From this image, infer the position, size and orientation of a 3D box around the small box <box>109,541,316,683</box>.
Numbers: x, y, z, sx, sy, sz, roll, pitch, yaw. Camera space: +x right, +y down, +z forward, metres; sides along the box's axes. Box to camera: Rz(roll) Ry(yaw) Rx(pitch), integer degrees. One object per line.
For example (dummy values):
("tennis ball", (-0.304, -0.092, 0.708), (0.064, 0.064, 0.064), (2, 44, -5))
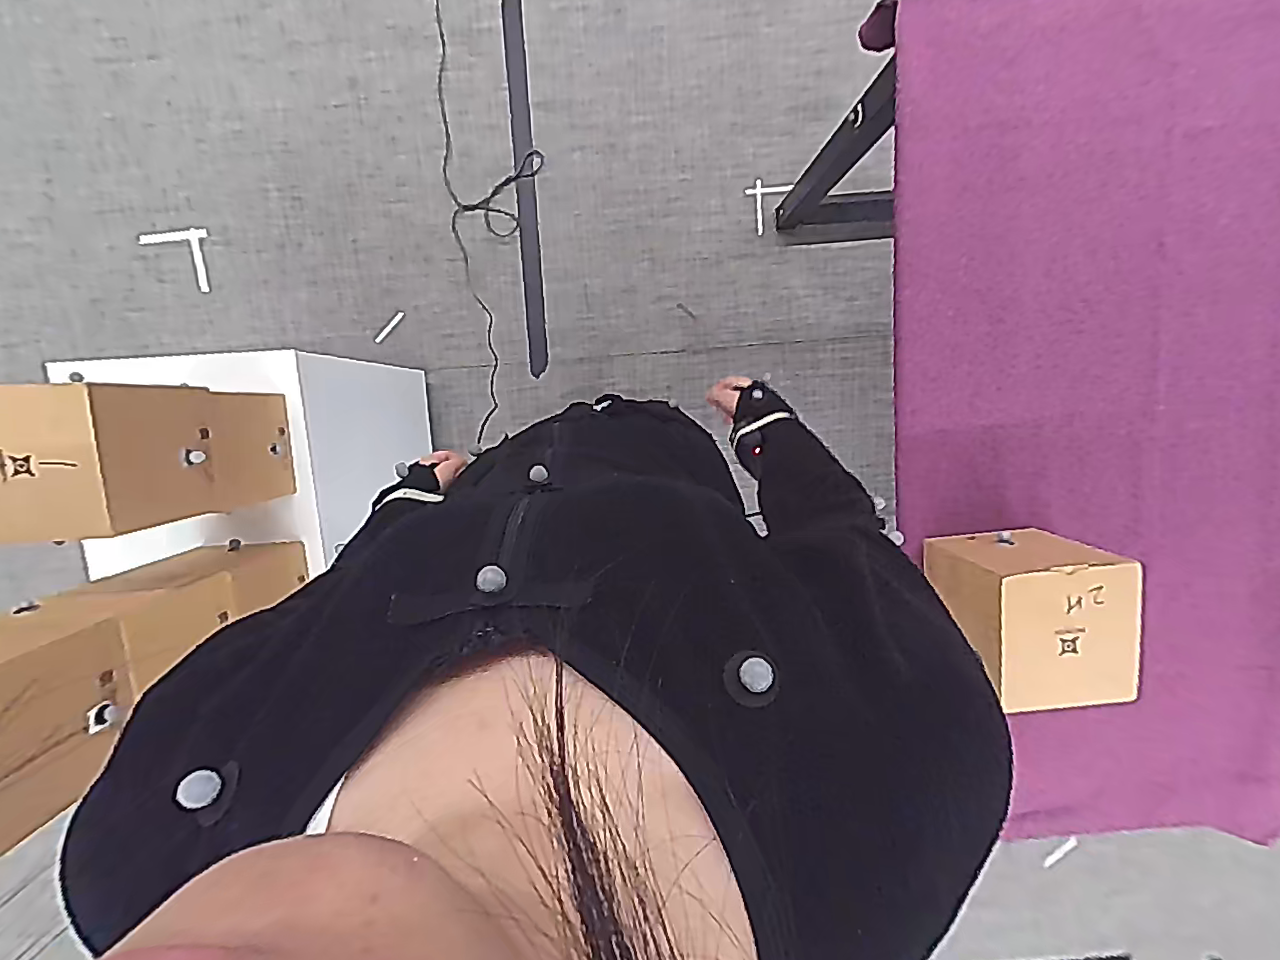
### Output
("small box", (-0.640, 0.195, 0.831), (0.179, 0.176, 0.168), (-3, 99, 1))

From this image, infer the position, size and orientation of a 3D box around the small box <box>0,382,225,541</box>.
("small box", (-0.641, -0.028, 0.634), (0.179, 0.176, 0.168), (-2, 99, -2))

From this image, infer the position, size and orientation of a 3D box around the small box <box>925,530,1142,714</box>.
("small box", (0.498, 0.175, 0.709), (0.168, 0.176, 0.179), (-5, 98, -1))

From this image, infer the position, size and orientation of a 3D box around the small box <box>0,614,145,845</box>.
("small box", (-0.636, 0.238, 0.509), (0.179, 0.176, 0.168), (-5, 99, -1))

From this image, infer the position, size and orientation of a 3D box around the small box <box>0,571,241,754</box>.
("small box", (-0.636, 0.217, 0.670), (0.179, 0.176, 0.168), (-4, 98, 0))
